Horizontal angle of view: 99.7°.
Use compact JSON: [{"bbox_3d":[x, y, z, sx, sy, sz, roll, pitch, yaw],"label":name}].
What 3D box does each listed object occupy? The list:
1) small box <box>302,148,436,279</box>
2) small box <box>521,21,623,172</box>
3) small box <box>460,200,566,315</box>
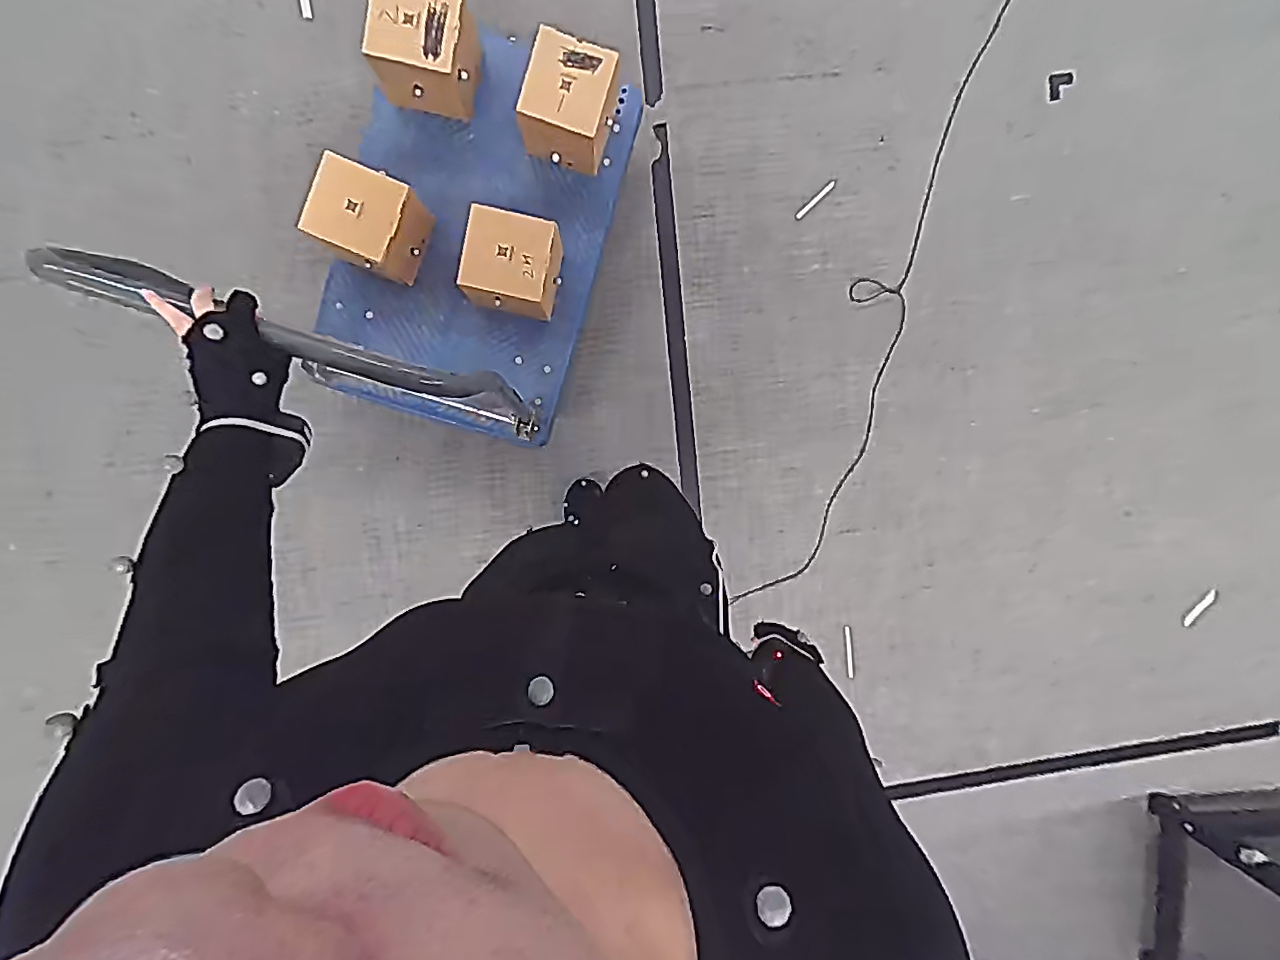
[{"bbox_3d":[-0.562,-0.550,1.147,0.179,0.176,0.168,21,92,-6],"label":"small box"},{"bbox_3d":[-0.141,-0.806,1.154,0.168,0.176,0.179,17,94,-5],"label":"small box"},{"bbox_3d":[-0.266,-0.469,1.169,0.179,0.176,0.168,12,93,-4],"label":"small box"}]
